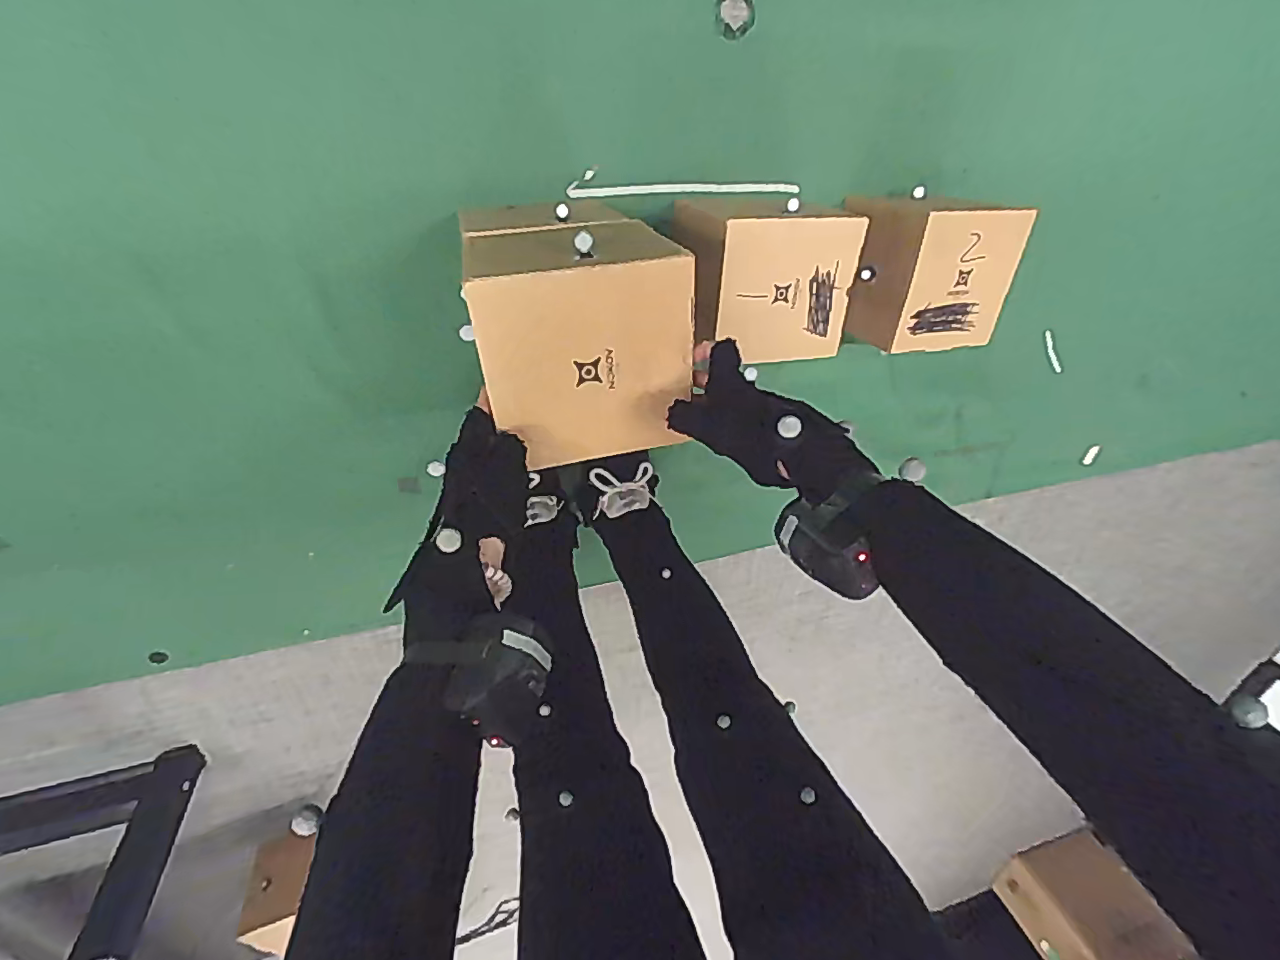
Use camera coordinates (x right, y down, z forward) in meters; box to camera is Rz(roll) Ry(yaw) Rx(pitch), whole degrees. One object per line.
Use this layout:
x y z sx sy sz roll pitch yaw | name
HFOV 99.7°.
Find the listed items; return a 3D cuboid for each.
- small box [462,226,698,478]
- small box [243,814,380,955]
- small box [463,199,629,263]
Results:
-0.057 -0.127 0.497 0.179 0.176 0.168 -12 126 -11 | small box
-0.677 0.849 1.142 0.179 0.176 0.168 -19 128 -6 | small box
-0.104 -0.213 0.627 0.168 0.176 0.179 -11 126 -12 | small box
